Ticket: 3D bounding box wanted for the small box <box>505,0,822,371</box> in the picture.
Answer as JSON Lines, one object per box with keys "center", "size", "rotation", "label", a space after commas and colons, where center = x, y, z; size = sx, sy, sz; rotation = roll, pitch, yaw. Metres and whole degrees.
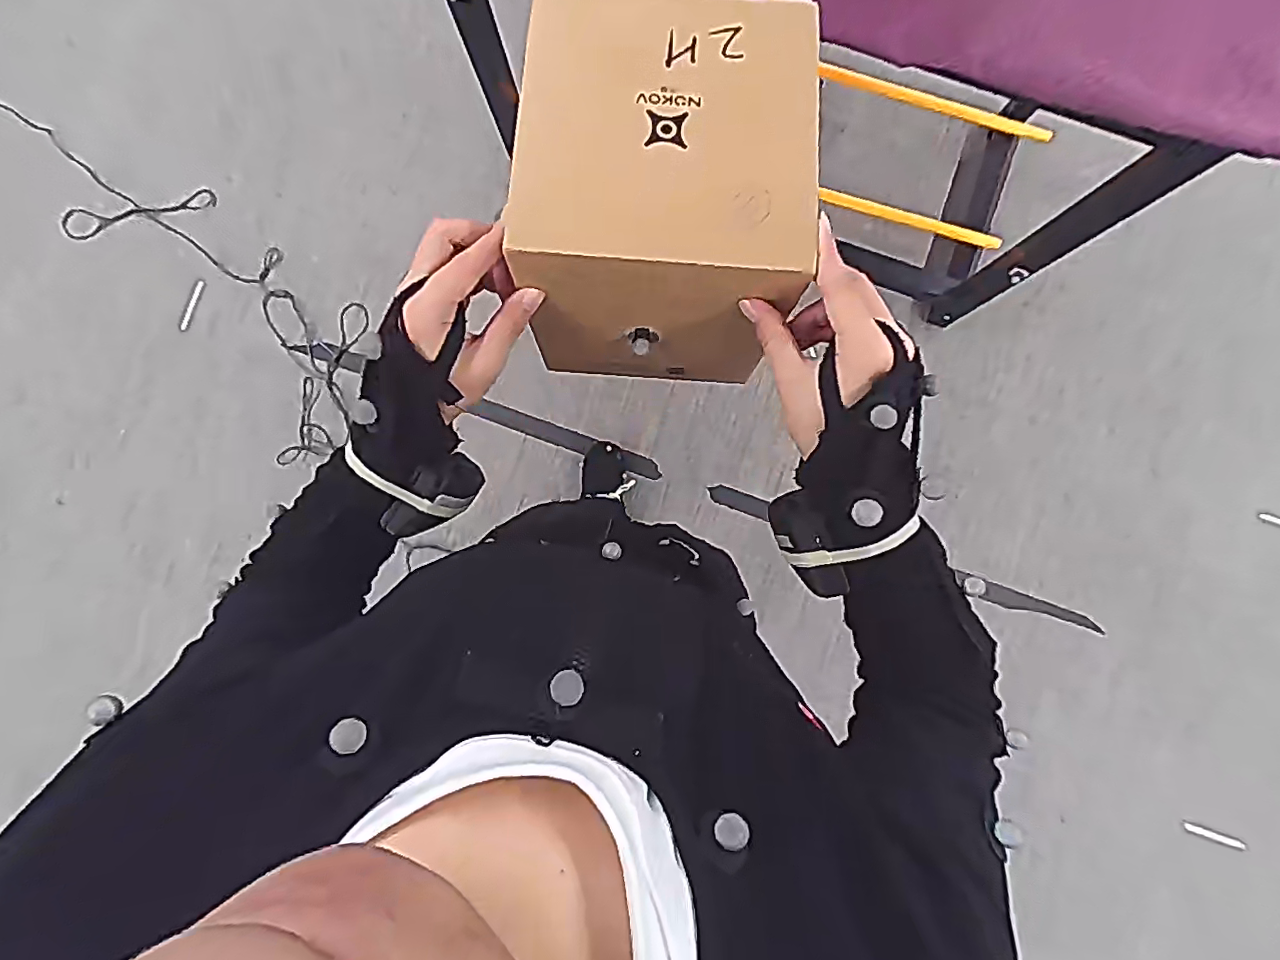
{"center": [0.015, -0.188, 0.372], "size": [0.168, 0.176, 0.179], "rotation": [4, 79, -1], "label": "small box"}
